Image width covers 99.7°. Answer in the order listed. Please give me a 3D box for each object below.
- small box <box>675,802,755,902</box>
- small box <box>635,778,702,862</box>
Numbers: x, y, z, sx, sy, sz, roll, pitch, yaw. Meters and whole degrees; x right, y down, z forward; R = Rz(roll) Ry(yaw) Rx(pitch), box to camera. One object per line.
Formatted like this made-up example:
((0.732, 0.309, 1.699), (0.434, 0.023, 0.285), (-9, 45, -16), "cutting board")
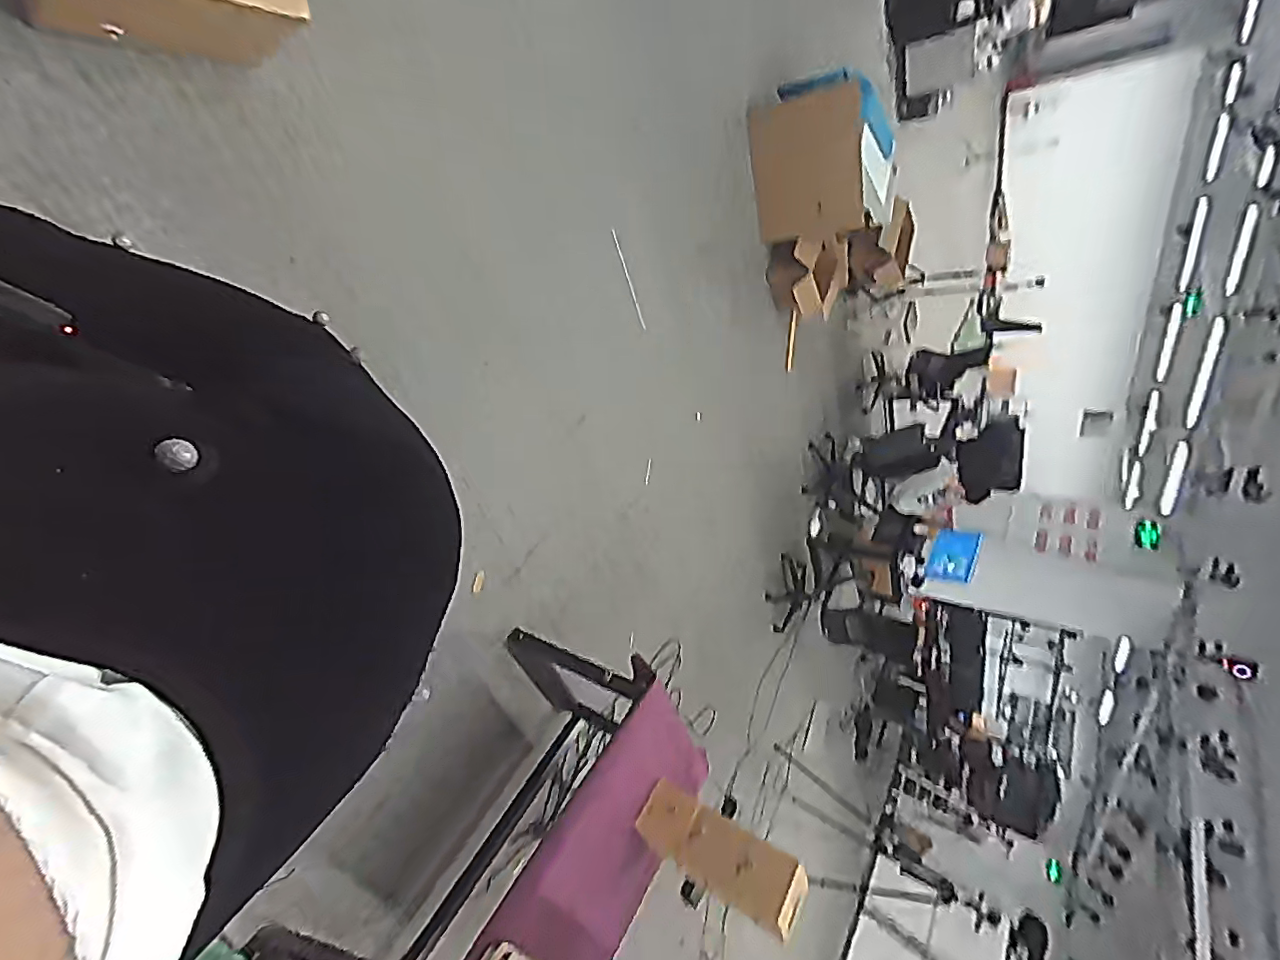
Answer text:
((0.233, 1.140, 1.668), (0.168, 0.176, 0.179), (-47, 131, -37), "small box")
((0.107, 1.113, 1.770), (0.168, 0.176, 0.179), (-51, 134, -33), "small box")
